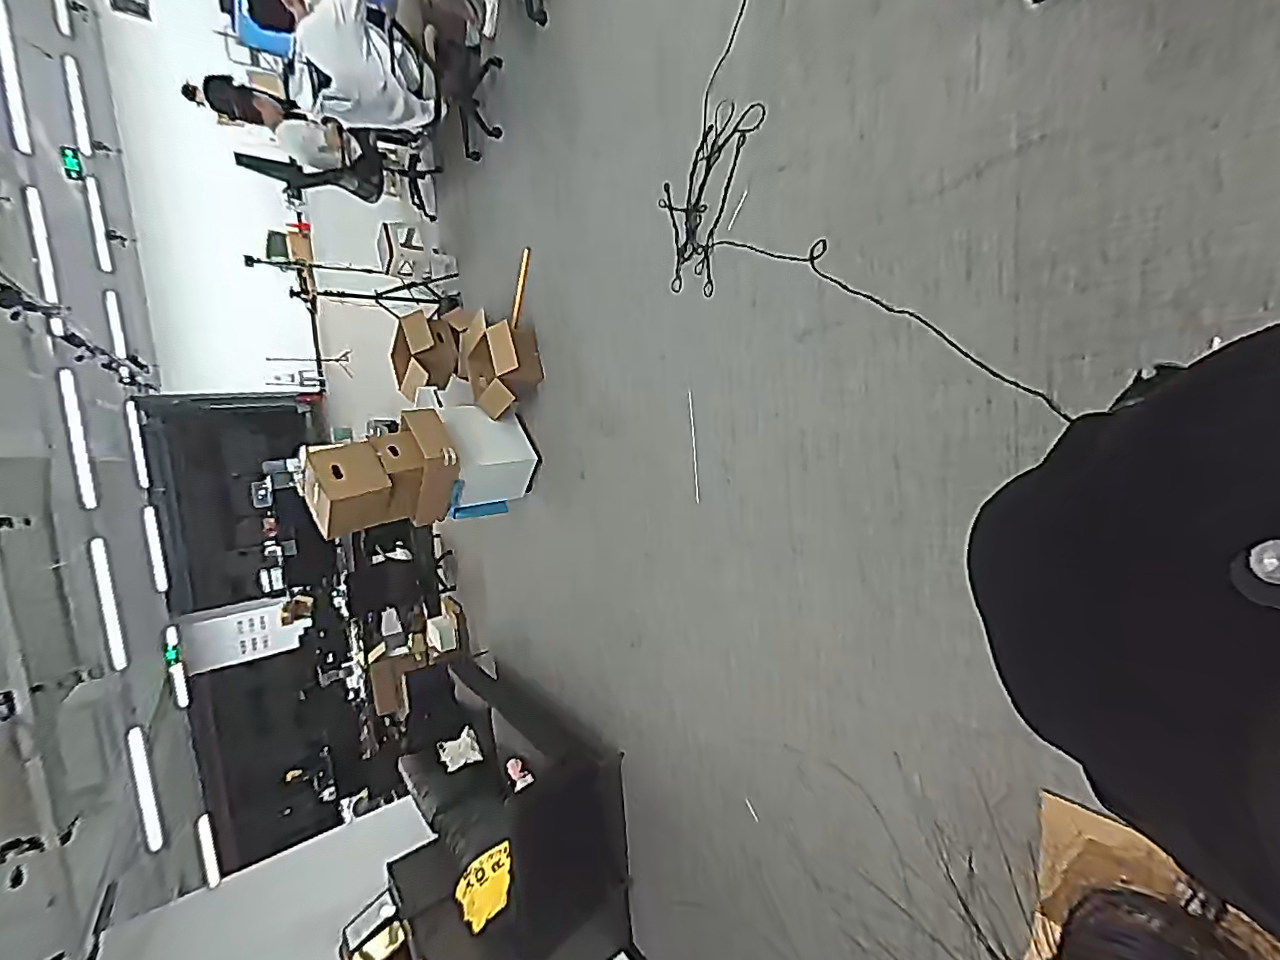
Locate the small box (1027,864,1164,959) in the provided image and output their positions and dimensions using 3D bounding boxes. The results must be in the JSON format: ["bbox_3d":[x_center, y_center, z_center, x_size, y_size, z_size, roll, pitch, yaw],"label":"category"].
[{"bbox_3d":[0.951,0.967,1.129,0.168,0.176,0.179,20,113,50],"label":"small box"}]

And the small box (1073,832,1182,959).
[{"bbox_3d":[1.085,0.950,1.221,0.168,0.176,0.179,17,111,52],"label":"small box"}]
